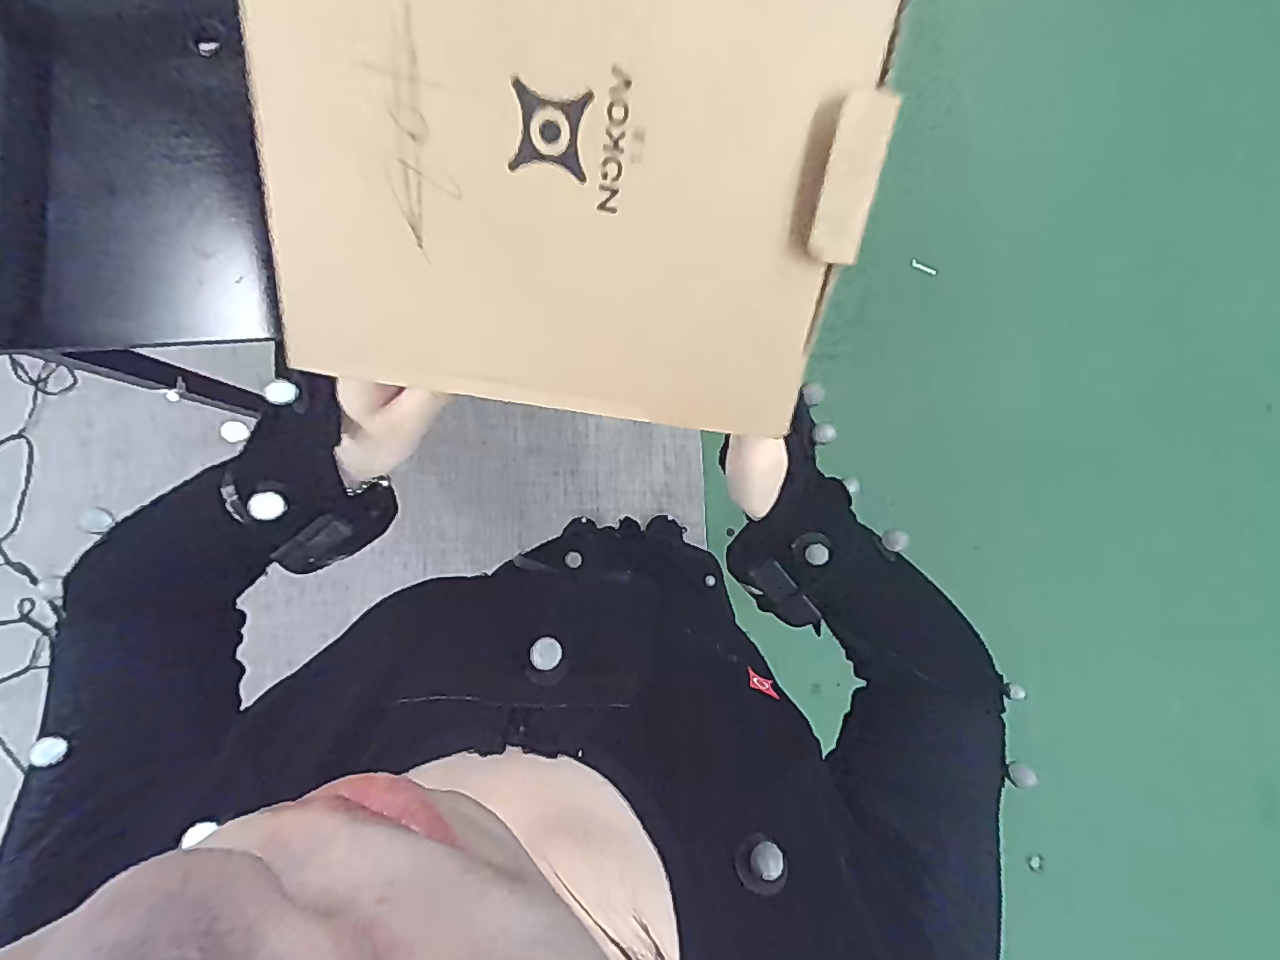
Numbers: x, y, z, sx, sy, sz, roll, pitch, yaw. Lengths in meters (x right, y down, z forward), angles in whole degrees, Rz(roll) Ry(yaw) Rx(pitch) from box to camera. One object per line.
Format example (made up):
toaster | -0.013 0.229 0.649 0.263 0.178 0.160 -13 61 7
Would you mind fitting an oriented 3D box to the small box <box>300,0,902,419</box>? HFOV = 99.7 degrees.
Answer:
small box | -0.016 -0.141 0.245 0.179 0.176 0.168 8 114 -2
